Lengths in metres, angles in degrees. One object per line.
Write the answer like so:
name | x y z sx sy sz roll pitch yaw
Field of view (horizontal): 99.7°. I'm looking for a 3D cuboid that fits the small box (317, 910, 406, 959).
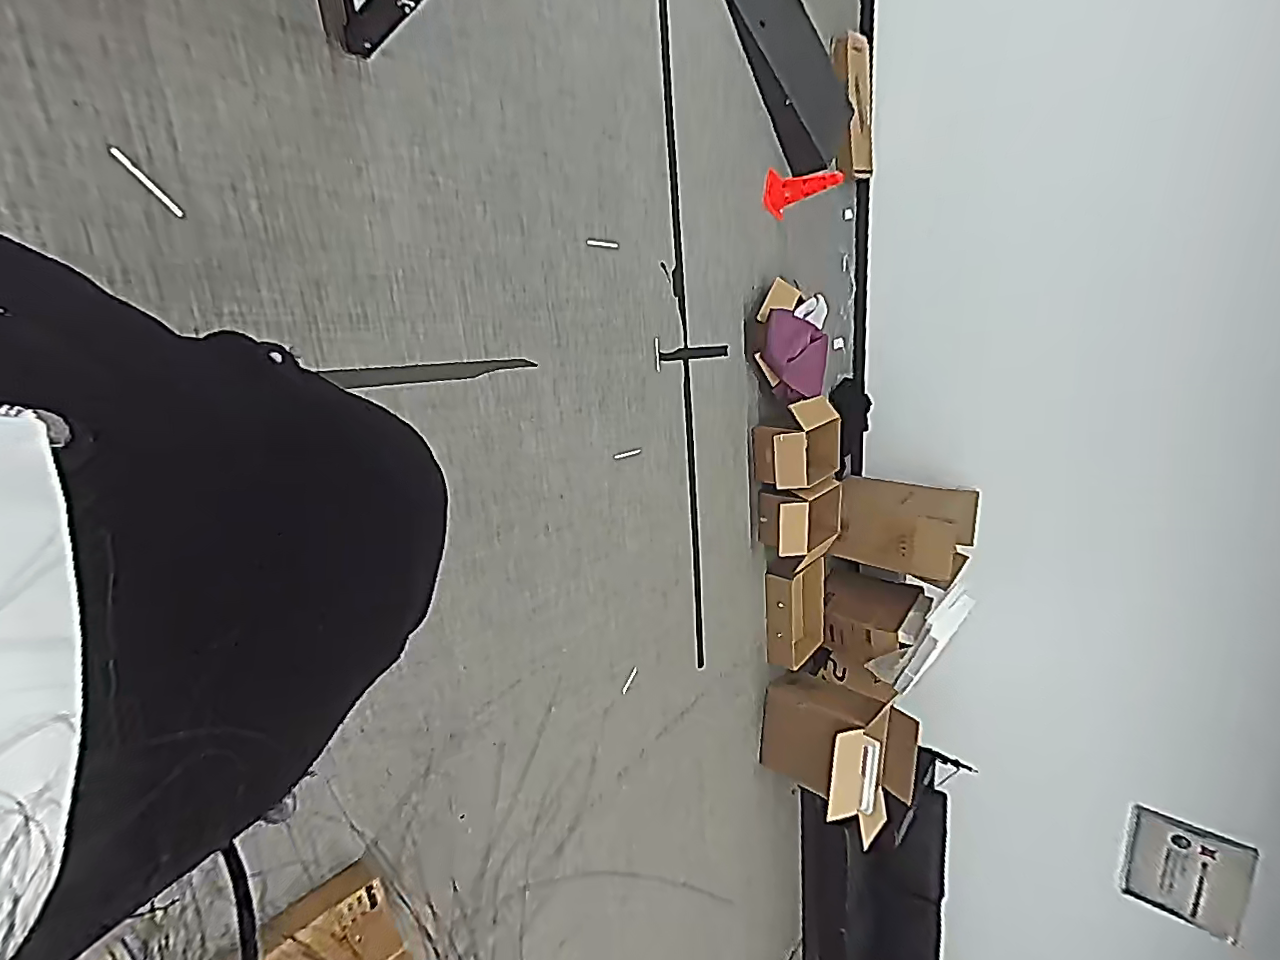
small box | -0.727 1.309 1.432 0.168 0.176 0.179 -19 111 -44
